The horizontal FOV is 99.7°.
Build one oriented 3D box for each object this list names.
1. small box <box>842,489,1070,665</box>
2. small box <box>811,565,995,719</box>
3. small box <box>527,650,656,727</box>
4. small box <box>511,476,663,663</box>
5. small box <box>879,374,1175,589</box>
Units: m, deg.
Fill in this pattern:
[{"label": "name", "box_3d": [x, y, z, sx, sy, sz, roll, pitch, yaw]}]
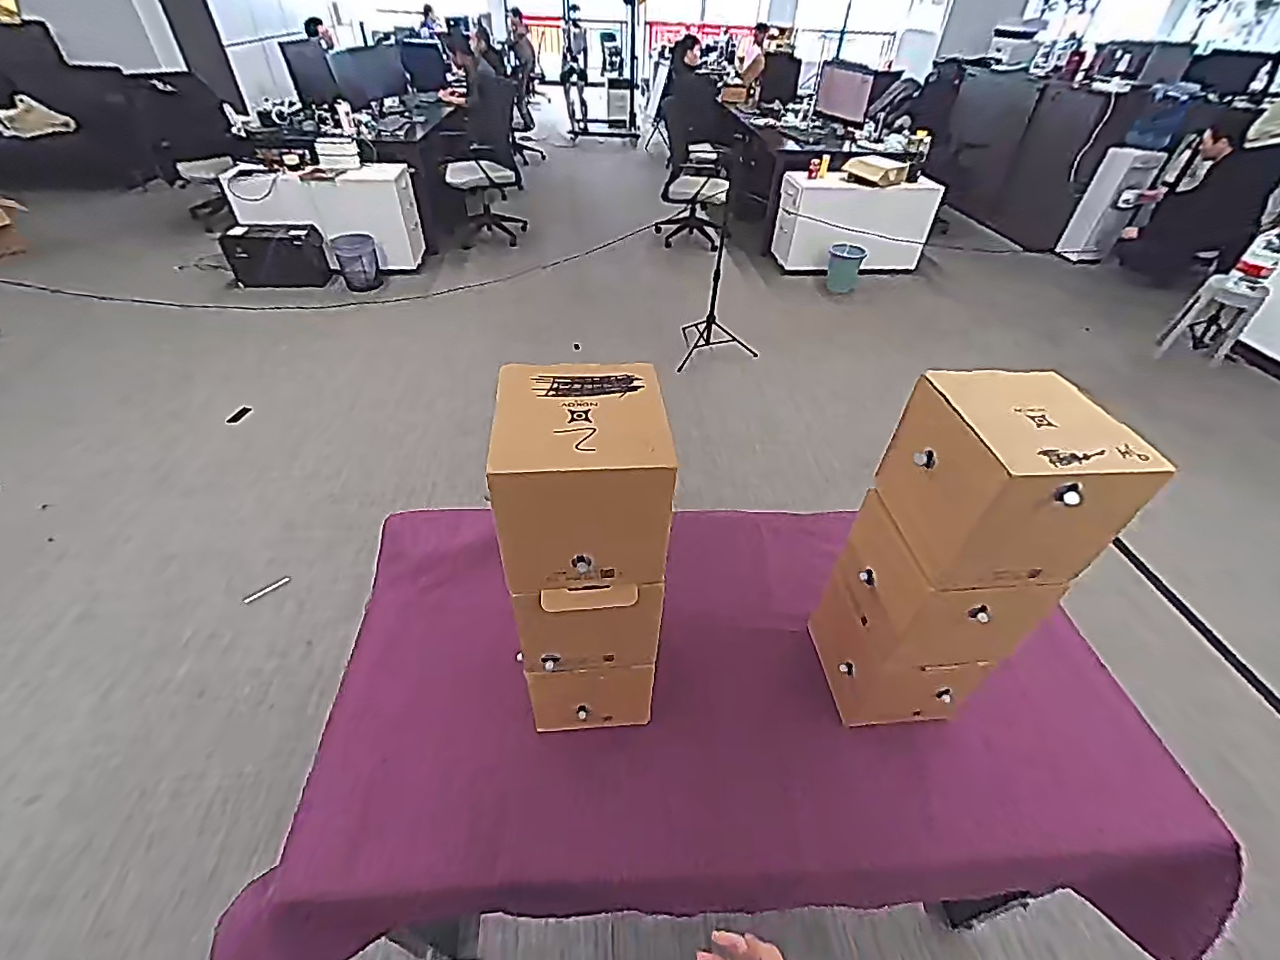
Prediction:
[{"label": "small box", "box_3d": [0.383, 0.125, 0.703, 0.179, 0.176, 0.168, -2, 43, -6]}, {"label": "small box", "box_3d": [0.377, 0.245, 0.815, 0.168, 0.176, 0.179, -1, 42, -5]}, {"label": "small box", "box_3d": [-0.072, 0.239, 0.797, 0.168, 0.176, 0.179, -2, 43, -6]}, {"label": "small box", "box_3d": [-0.066, 0.117, 0.687, 0.168, 0.176, 0.179, -2, 42, -7]}, {"label": "small box", "box_3d": [0.395, 0.000, 0.597, 0.168, 0.176, 0.179, -1, 42, -5]}]
